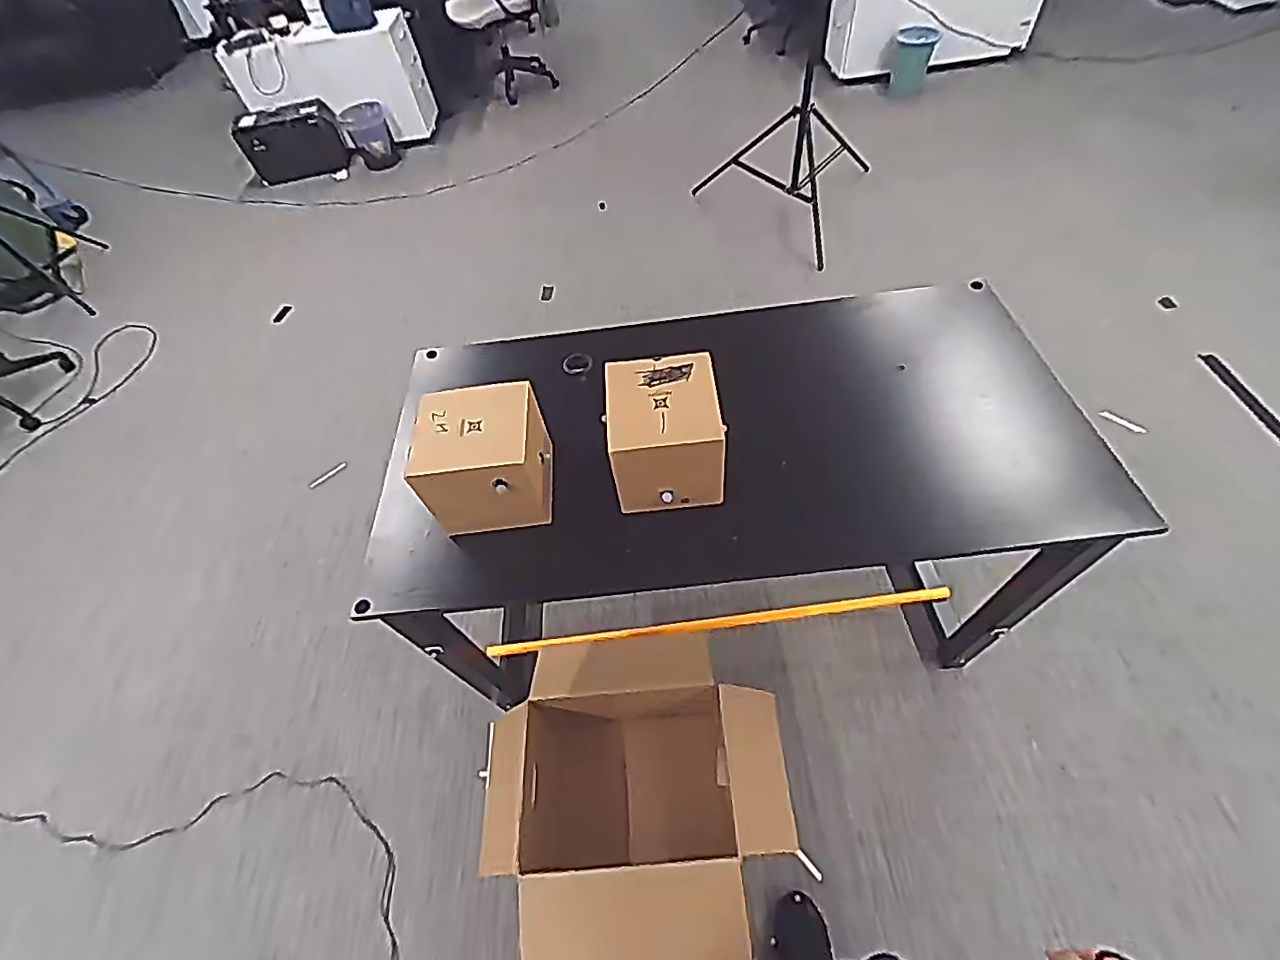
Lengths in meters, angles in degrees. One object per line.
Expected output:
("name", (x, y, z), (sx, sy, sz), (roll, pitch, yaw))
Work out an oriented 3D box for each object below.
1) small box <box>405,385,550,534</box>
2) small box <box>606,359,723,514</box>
("small box", (-0.245, -0.028, 0.871), (0.179, 0.176, 0.168), (-7, 54, 2))
("small box", (0.037, -0.066, 0.866), (0.168, 0.176, 0.179), (-6, 55, 3))
